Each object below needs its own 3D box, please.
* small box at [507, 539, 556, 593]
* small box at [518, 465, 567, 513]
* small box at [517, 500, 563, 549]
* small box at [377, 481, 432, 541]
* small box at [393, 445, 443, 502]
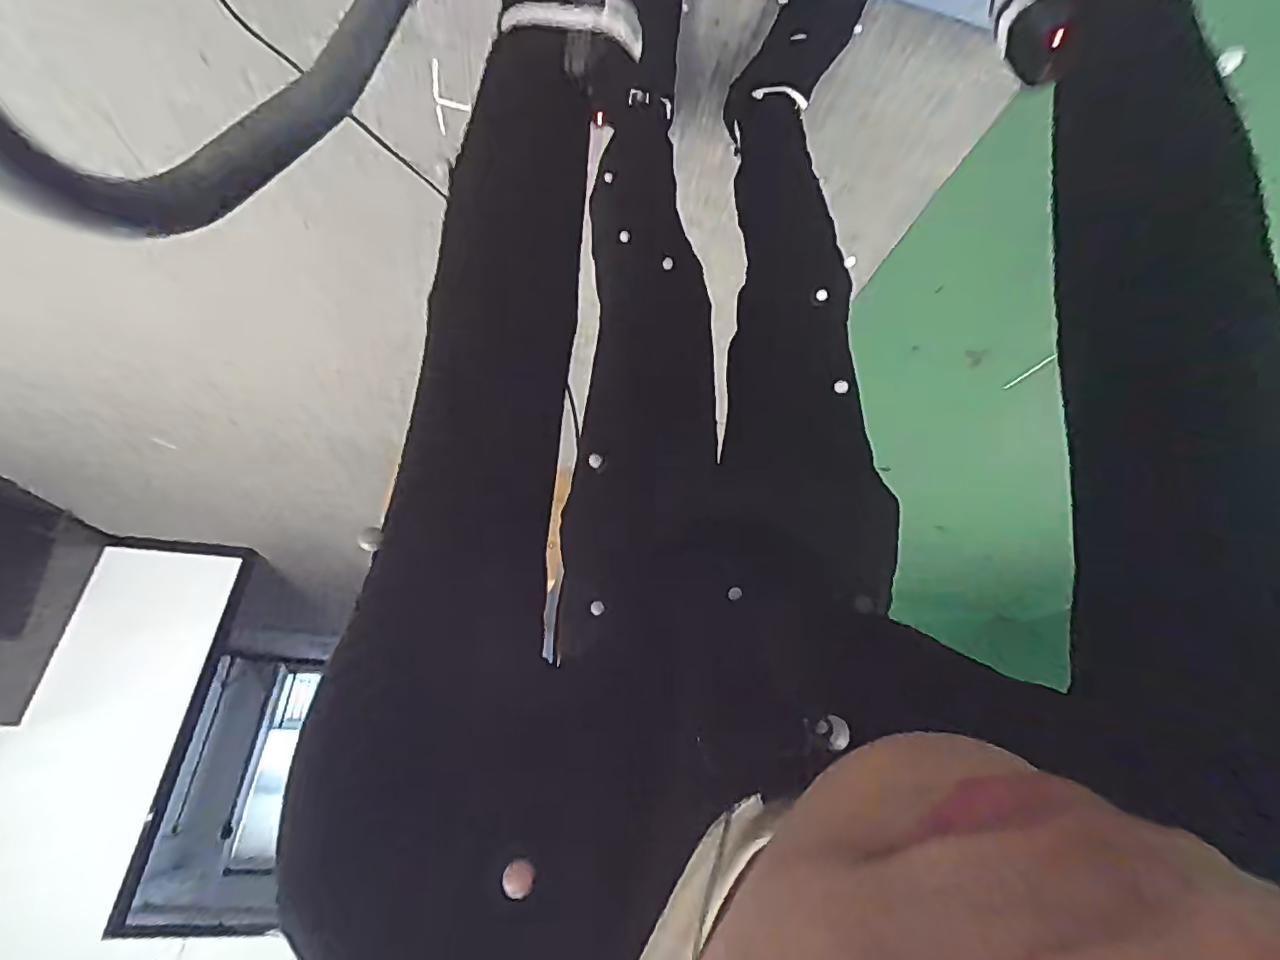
[{"bbox_3d":[-0.435,0.345,2.173,0.168,0.176,0.179,9,153,-14],"label":"small box"},{"bbox_3d":[-0.417,0.050,2.316,0.179,0.176,0.168,11,152,-15],"label":"small box"},{"bbox_3d":[-0.417,0.196,2.241,0.168,0.176,0.179,10,151,-15],"label":"small box"},{"bbox_3d":[-0.926,0.123,2.141,0.168,0.176,0.179,11,152,-15],"label":"small box"},{"bbox_3d":[-0.912,-0.021,2.211,0.168,0.176,0.179,11,152,-22],"label":"small box"}]
